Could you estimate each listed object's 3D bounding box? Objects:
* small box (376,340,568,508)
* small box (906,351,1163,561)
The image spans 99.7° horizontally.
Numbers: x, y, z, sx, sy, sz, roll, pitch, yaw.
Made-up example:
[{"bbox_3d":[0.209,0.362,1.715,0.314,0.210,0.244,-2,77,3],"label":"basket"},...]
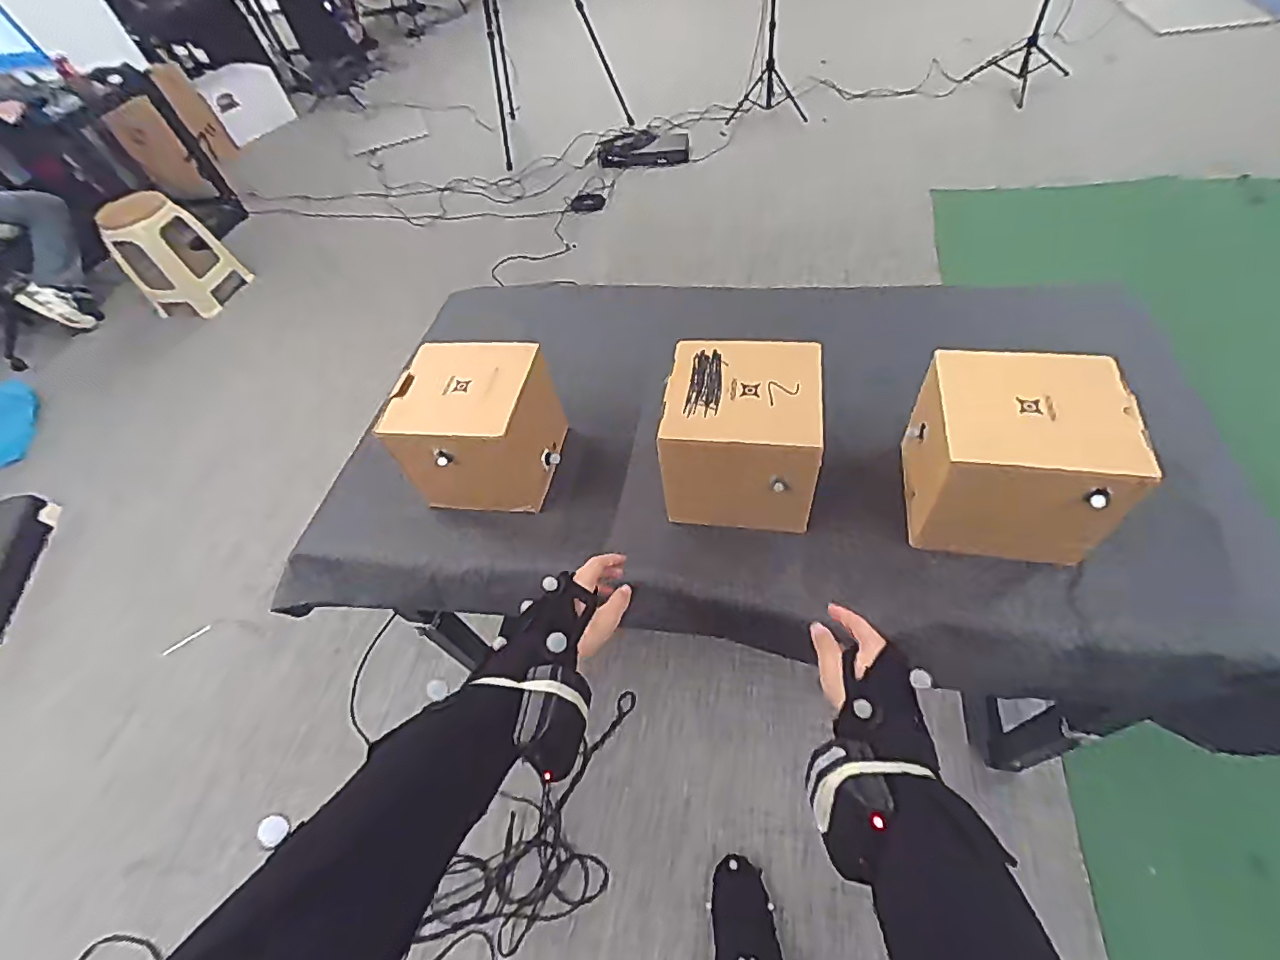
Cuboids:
[{"bbox_3d":[-0.216,-0.074,0.749,0.179,0.176,0.168,3,55,11],"label":"small box"},{"bbox_3d":[0.410,-0.024,0.607,0.179,0.176,0.168,5,54,14],"label":"small box"}]
